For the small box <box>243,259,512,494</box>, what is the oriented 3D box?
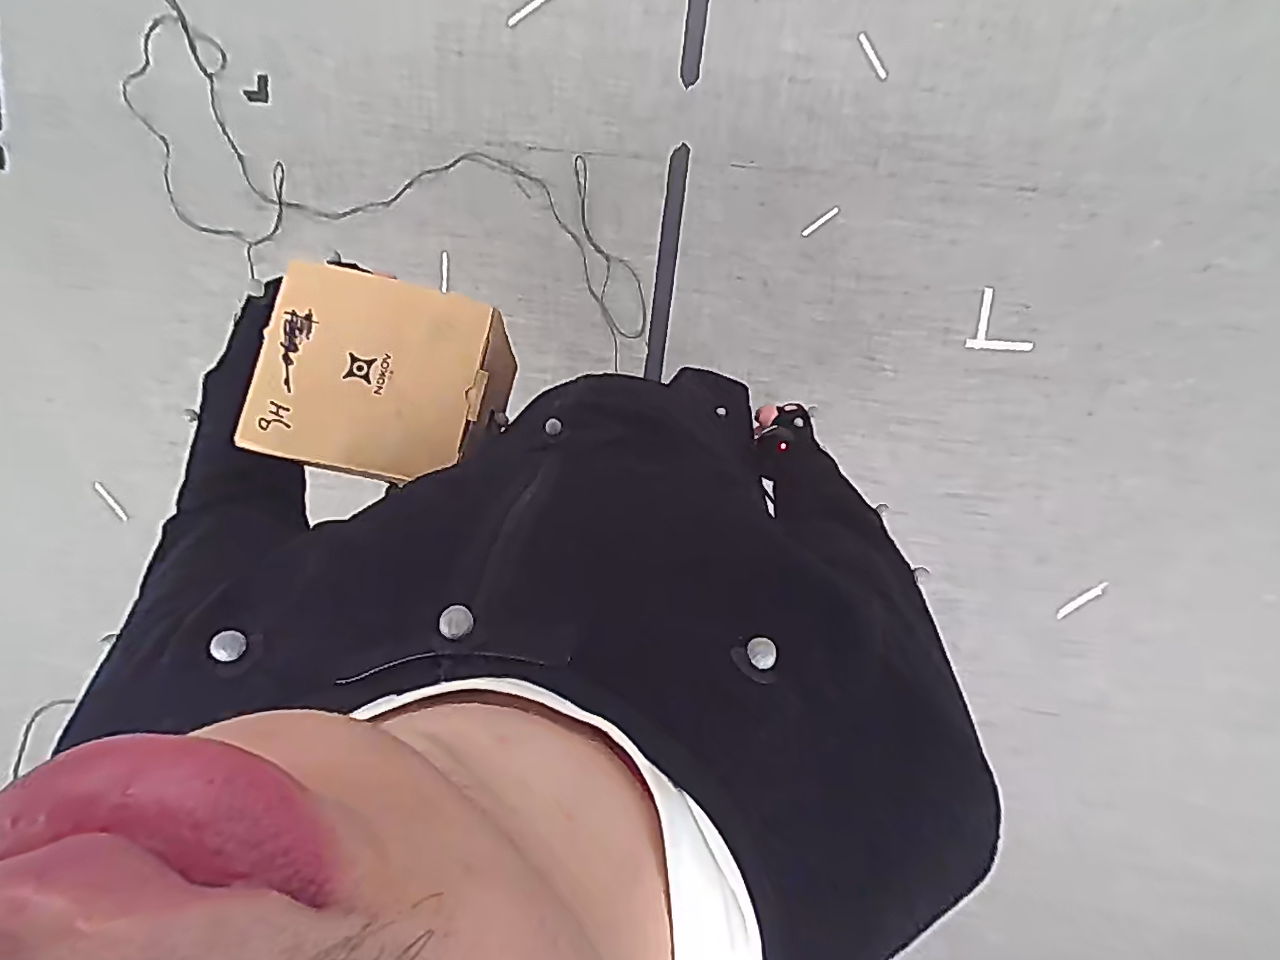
[{"bbox_3d":[-0.234,-0.083,0.536,0.179,0.176,0.168,13,82,-6],"label":"small box"}]
